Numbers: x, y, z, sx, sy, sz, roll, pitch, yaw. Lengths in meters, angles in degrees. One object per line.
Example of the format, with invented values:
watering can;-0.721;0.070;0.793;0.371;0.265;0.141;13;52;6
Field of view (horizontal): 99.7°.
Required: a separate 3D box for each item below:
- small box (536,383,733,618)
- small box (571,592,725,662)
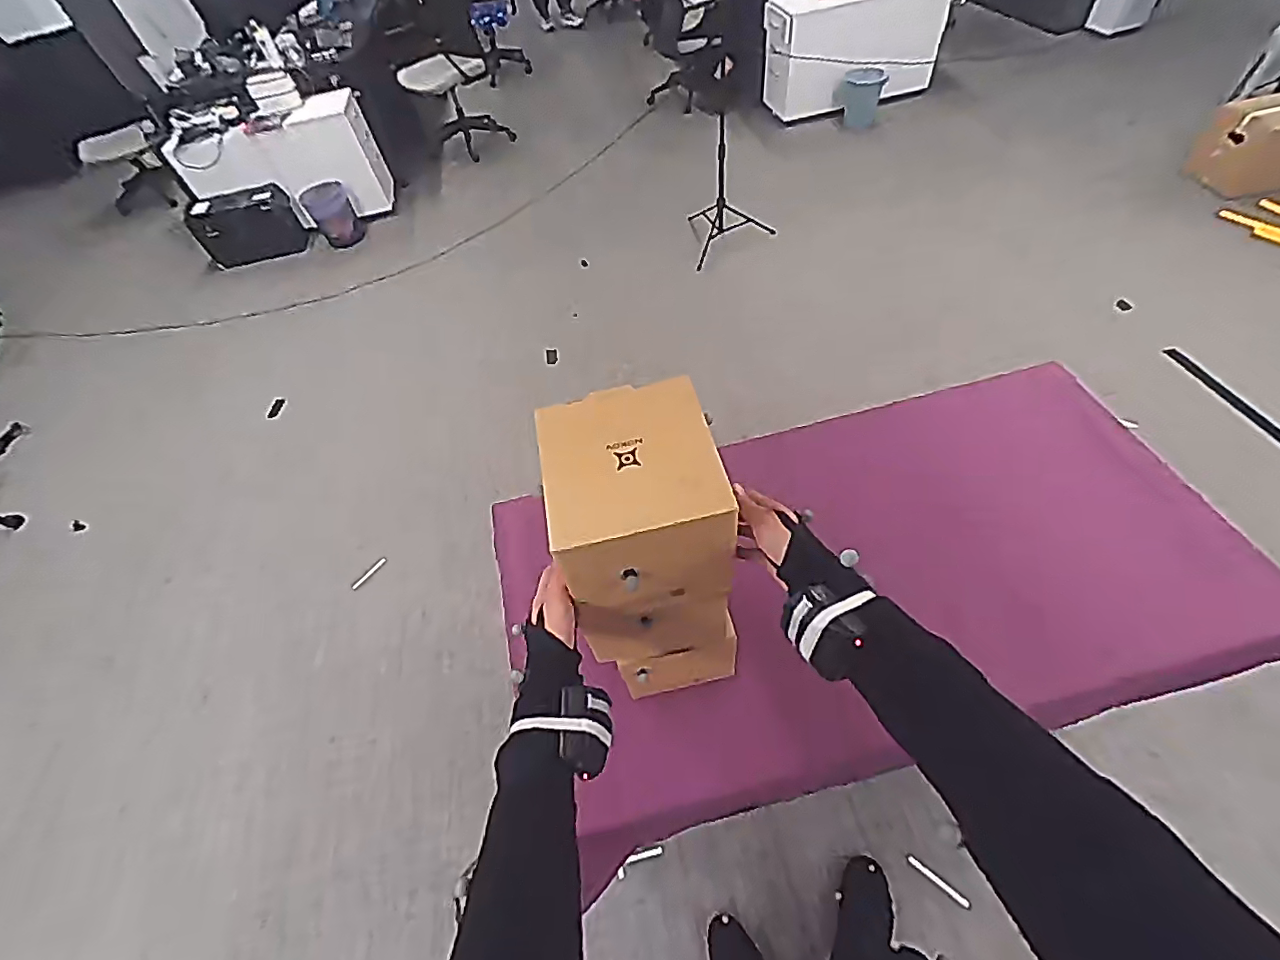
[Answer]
small box;-0.003;0.031;0.574;0.168;0.176;0.179;-13;52;-2
small box;0.013;0.125;0.706;0.179;0.176;0.168;-8;53;2
